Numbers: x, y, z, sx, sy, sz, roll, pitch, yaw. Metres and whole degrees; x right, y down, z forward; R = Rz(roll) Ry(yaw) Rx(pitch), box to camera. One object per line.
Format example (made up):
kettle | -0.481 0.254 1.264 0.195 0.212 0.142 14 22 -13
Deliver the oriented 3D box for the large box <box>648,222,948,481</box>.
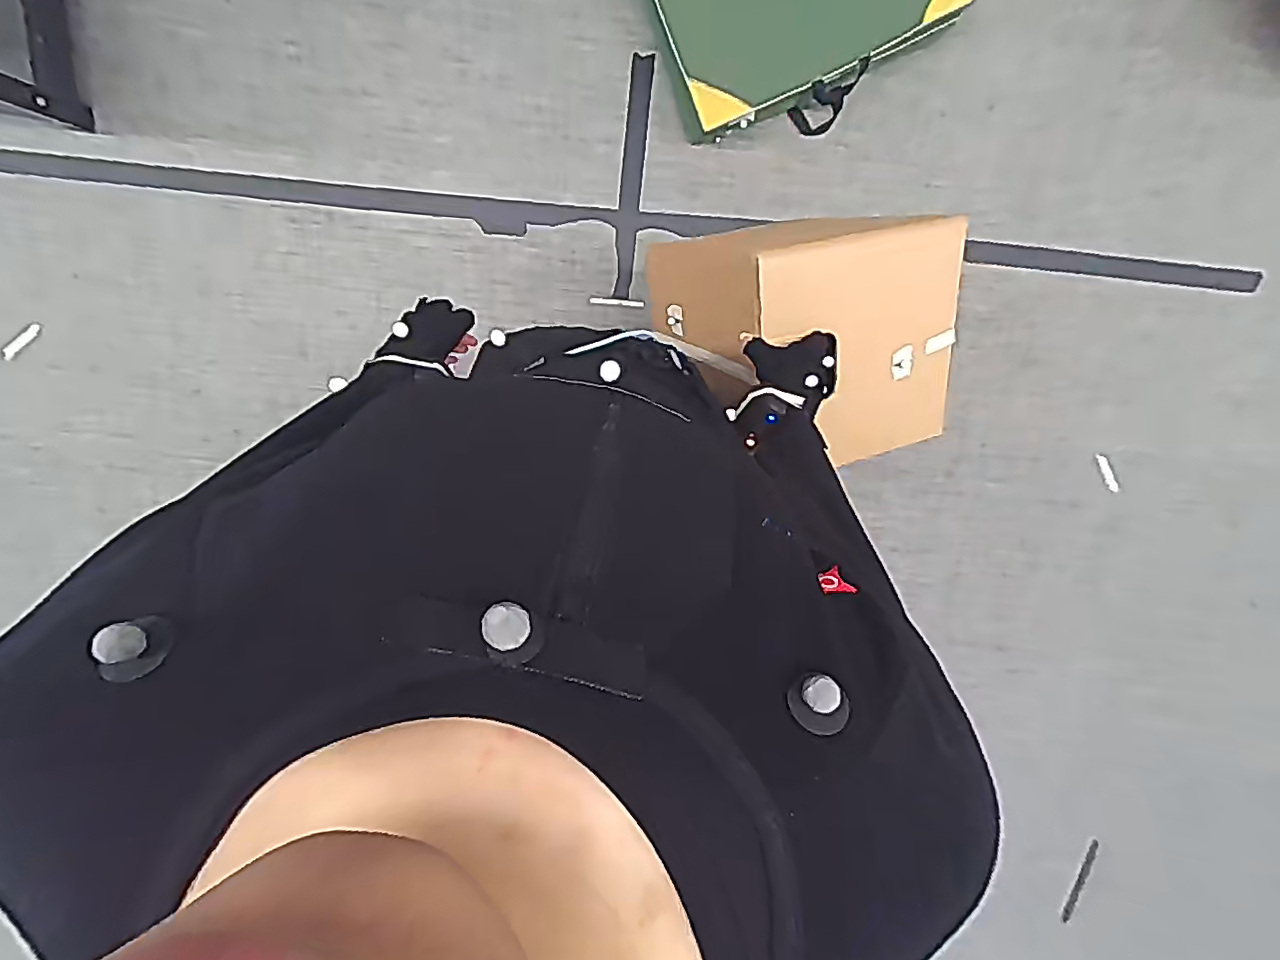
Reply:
large box | 0.239 -0.243 0.921 0.320 0.408 0.320 -15 117 -13
